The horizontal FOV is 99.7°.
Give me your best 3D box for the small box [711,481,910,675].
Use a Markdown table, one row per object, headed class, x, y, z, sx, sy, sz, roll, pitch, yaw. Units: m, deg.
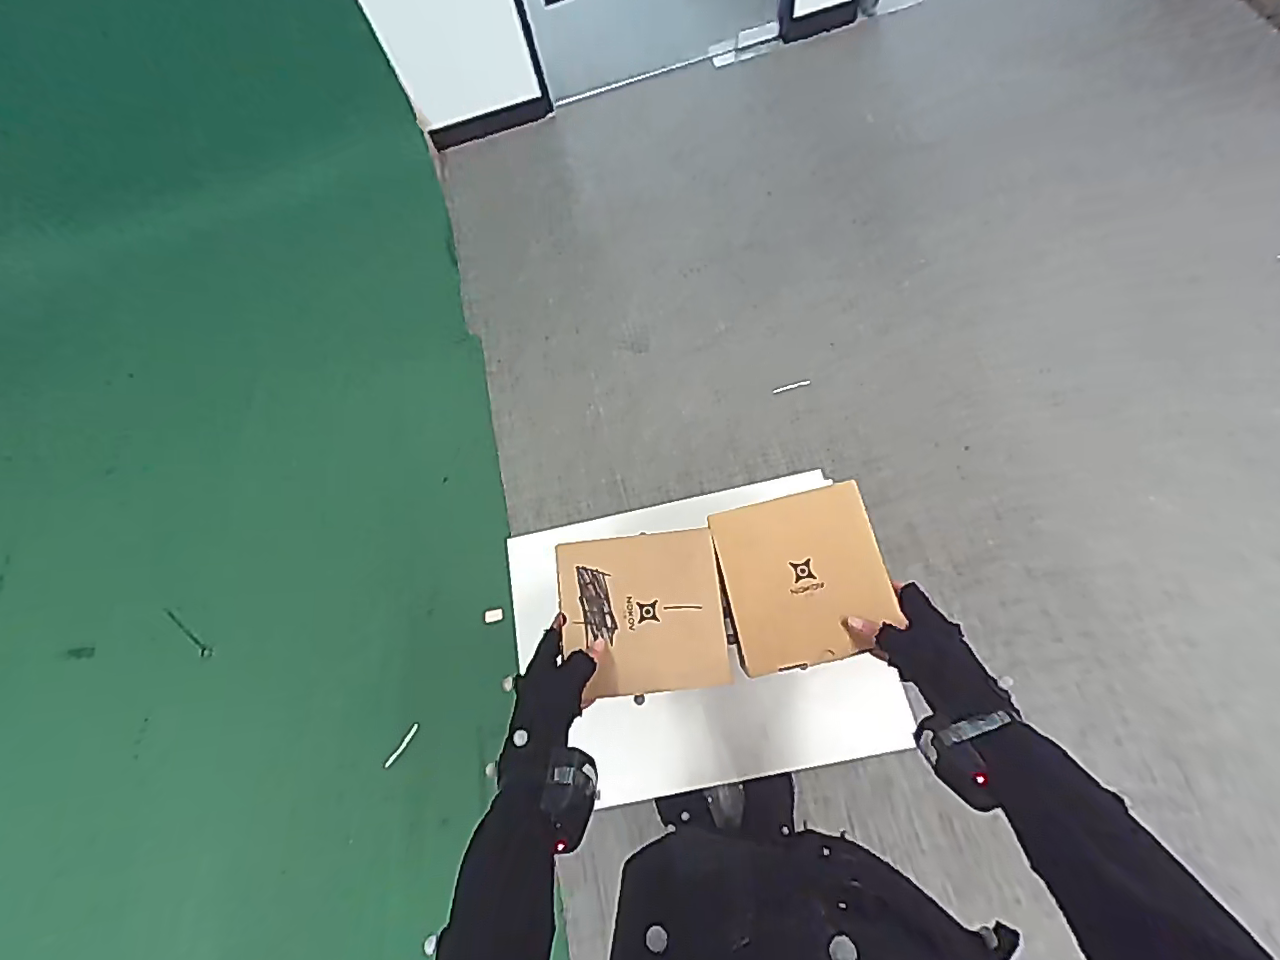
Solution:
| class | x | y | z | sx | sy | sz | roll | pitch | yaw |
| --- | --- | --- | --- | --- | --- | --- | --- | --- | --- |
| small box | 0.181 | 0.120 | 0.639 | 0.168 | 0.176 | 0.179 | -14 | 73 | 4 |
